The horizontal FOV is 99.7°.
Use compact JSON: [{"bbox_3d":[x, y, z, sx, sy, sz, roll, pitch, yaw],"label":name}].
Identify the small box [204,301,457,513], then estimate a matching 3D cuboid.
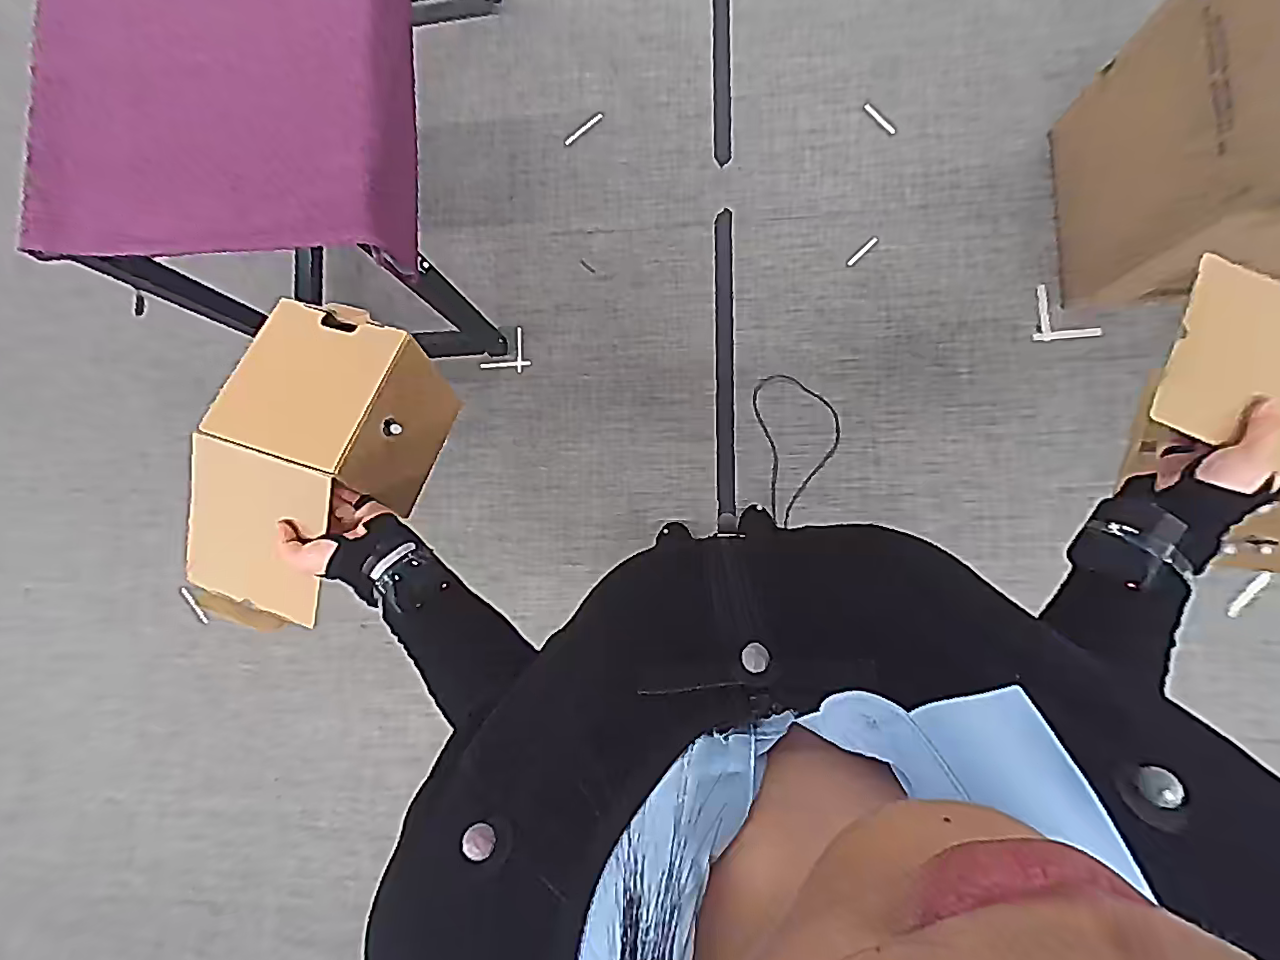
[{"bbox_3d":[-0.347,-0.077,0.649,0.168,0.176,0.179,17,71,8],"label":"small box"}]
